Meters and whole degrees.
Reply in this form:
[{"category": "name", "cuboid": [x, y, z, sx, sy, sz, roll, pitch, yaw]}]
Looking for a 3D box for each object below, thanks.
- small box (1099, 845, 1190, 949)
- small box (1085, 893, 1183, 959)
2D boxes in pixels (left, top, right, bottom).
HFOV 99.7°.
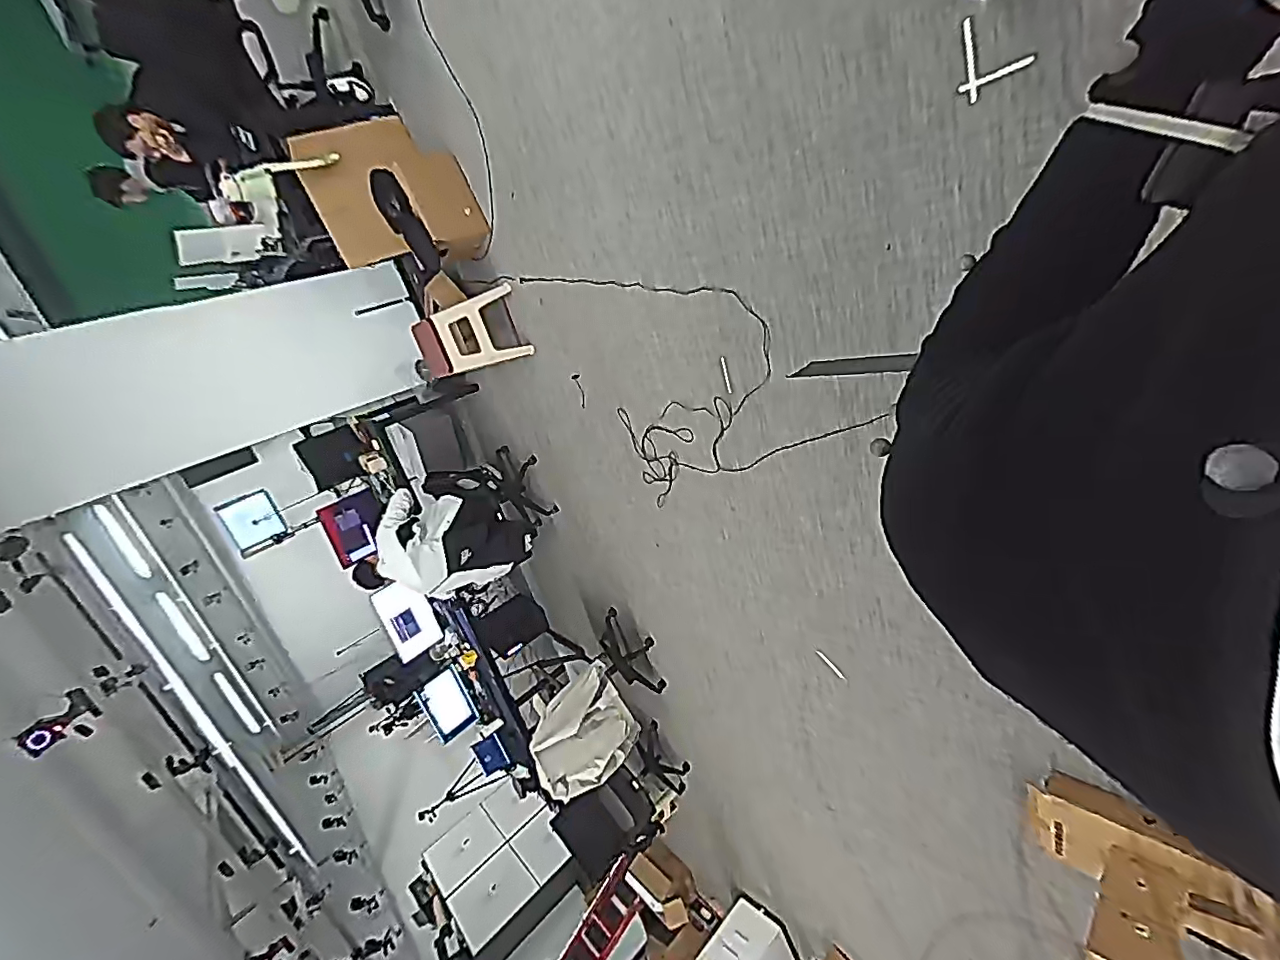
[{"category": "small box", "cuboid": [1.414, 1.184, 1.517, 0.168, 0.176, 0.179, 5, 120, 51]}, {"category": "small box", "cuboid": [1.303, 1.257, 1.423, 0.168, 0.176, 0.179, 1, 117, 52]}]
